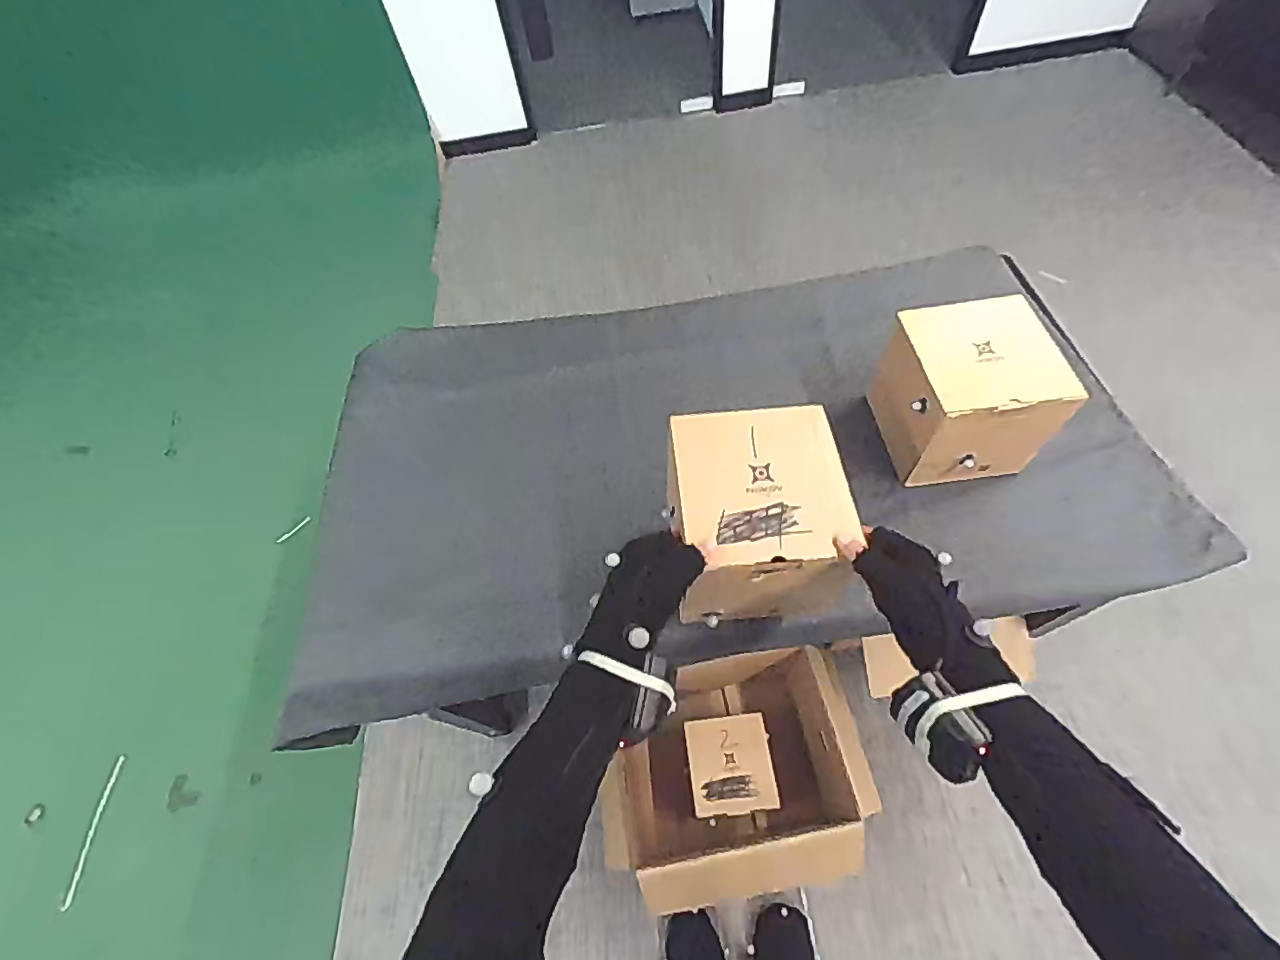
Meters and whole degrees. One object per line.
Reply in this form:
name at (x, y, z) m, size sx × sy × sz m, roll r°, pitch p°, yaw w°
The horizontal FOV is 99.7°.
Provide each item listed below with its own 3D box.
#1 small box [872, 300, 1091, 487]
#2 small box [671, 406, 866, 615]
small box at (0.437, -0.112, 0.734) m, size 0.168 × 0.176 × 0.179 m, roll -8°, pitch 59°, yaw 2°
small box at (0.122, 0.042, 0.596) m, size 0.168 × 0.176 × 0.179 m, roll -4°, pitch 59°, yaw -1°
